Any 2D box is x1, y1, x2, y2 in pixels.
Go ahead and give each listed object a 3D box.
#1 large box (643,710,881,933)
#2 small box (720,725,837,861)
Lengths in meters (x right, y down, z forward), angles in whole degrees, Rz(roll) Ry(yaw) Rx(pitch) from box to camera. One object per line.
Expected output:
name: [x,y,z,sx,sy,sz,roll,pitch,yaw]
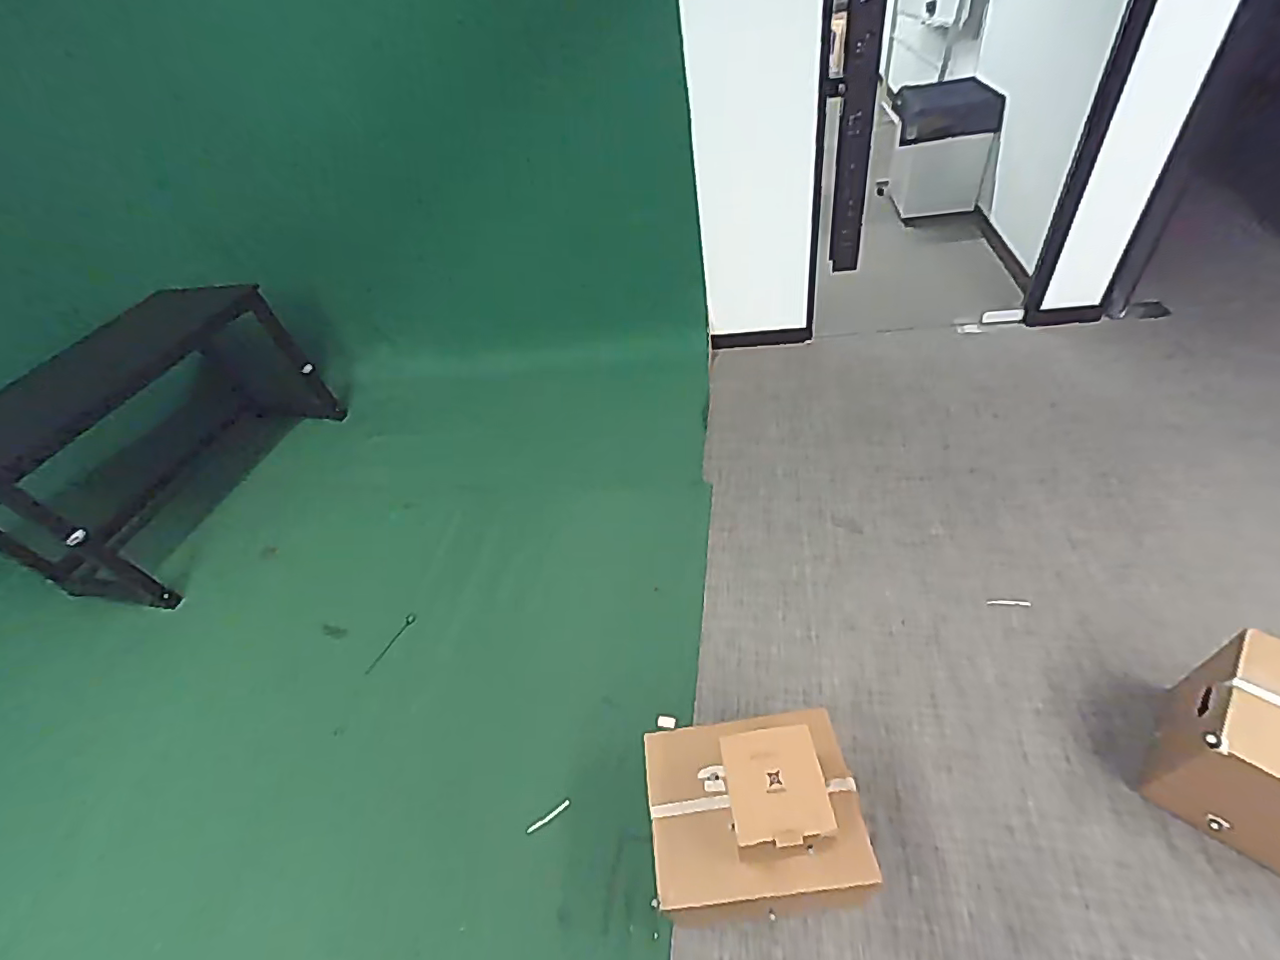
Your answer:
large box: [0.244,0.738,1.160,0.408,0.320,0.320,-11,43,4]
small box: [0.244,0.570,0.976,0.168,0.176,0.179,-10,45,4]
